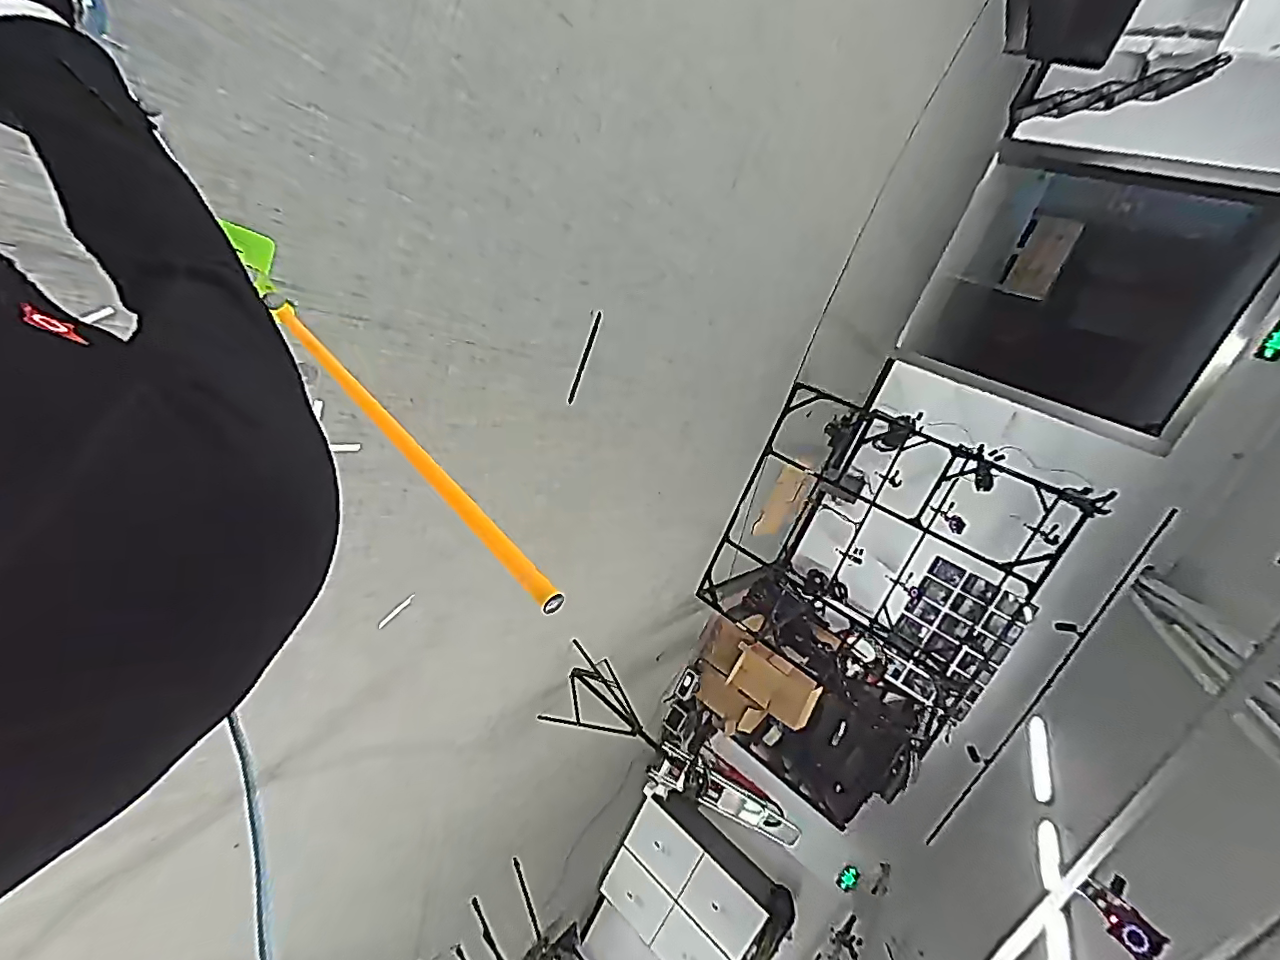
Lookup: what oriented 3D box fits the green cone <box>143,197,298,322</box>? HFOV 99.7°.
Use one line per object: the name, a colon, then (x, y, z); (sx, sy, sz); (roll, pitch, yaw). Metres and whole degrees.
green cone: (-0.796, -0.391, 1.082); (0.202, 0.368, 0.200); (3, 115, -60)
